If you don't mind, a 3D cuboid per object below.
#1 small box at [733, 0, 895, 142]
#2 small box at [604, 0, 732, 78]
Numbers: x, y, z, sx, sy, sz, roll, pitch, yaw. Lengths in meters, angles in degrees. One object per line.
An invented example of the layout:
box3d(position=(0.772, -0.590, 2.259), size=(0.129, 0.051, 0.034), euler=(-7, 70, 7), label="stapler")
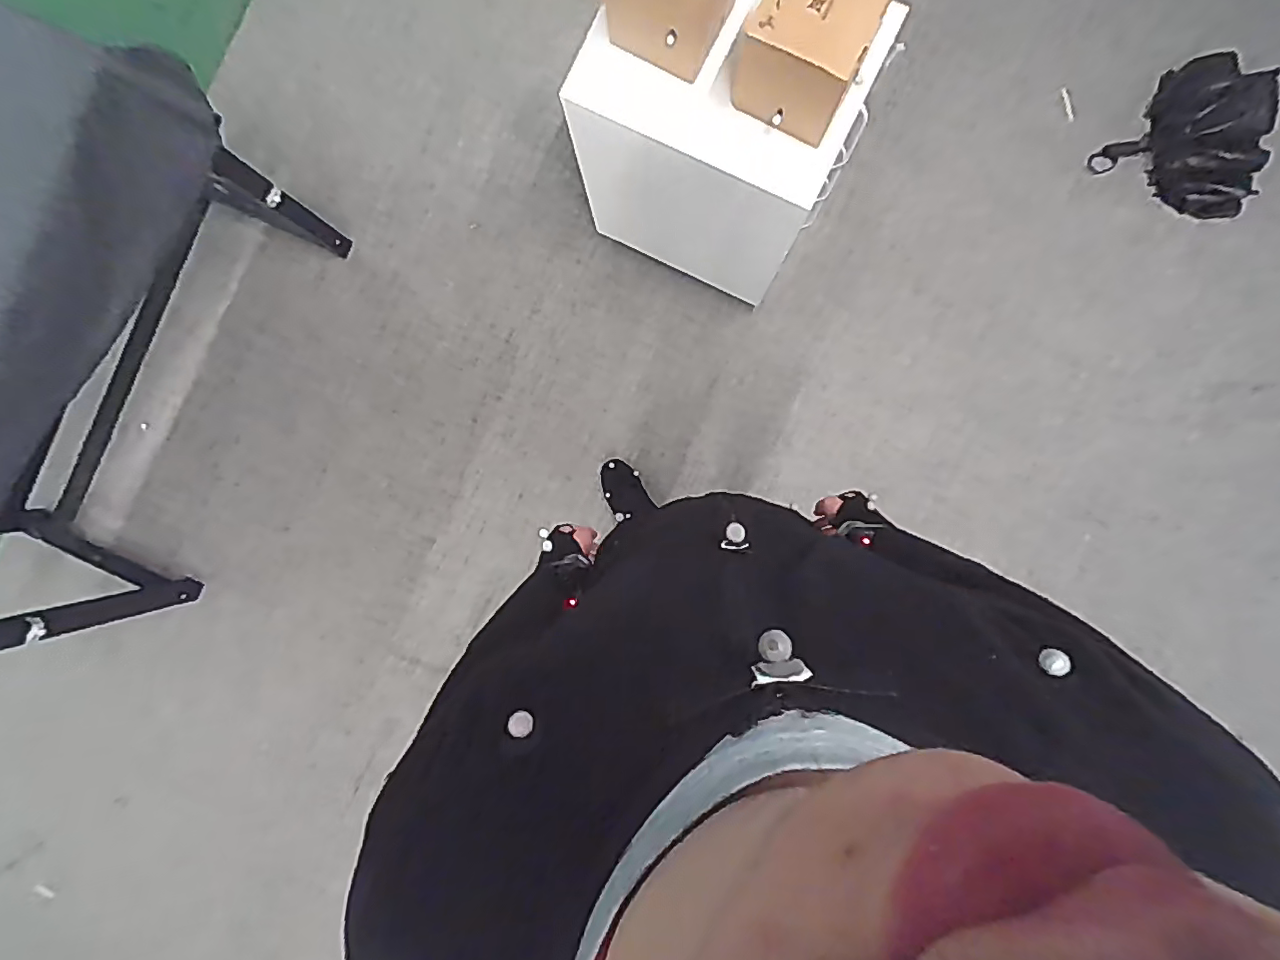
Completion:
box3d(position=(0.272, -0.696, 0.882), size=(0.179, 0.176, 0.168), euler=(28, 91, 1), label="small box")
box3d(position=(0.053, -0.816, 0.889), size=(0.179, 0.176, 0.168), euler=(27, 90, 2), label="small box")
